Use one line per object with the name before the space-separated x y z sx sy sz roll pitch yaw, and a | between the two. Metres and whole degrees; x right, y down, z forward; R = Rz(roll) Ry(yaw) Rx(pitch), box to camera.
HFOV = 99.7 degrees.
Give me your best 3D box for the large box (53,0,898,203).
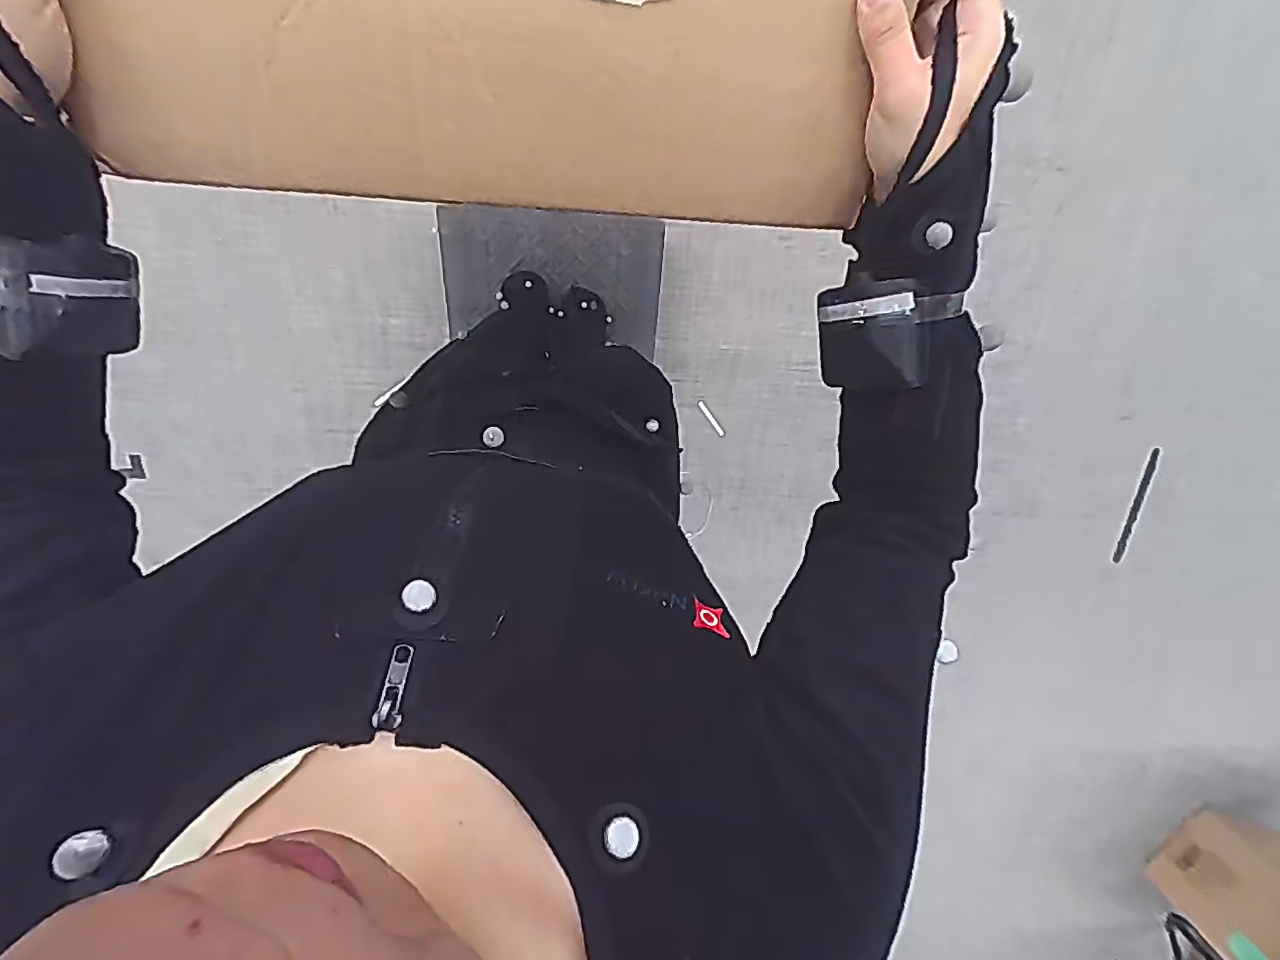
large box | -0.076 -0.374 0.340 0.408 0.320 0.320 1 125 -6
